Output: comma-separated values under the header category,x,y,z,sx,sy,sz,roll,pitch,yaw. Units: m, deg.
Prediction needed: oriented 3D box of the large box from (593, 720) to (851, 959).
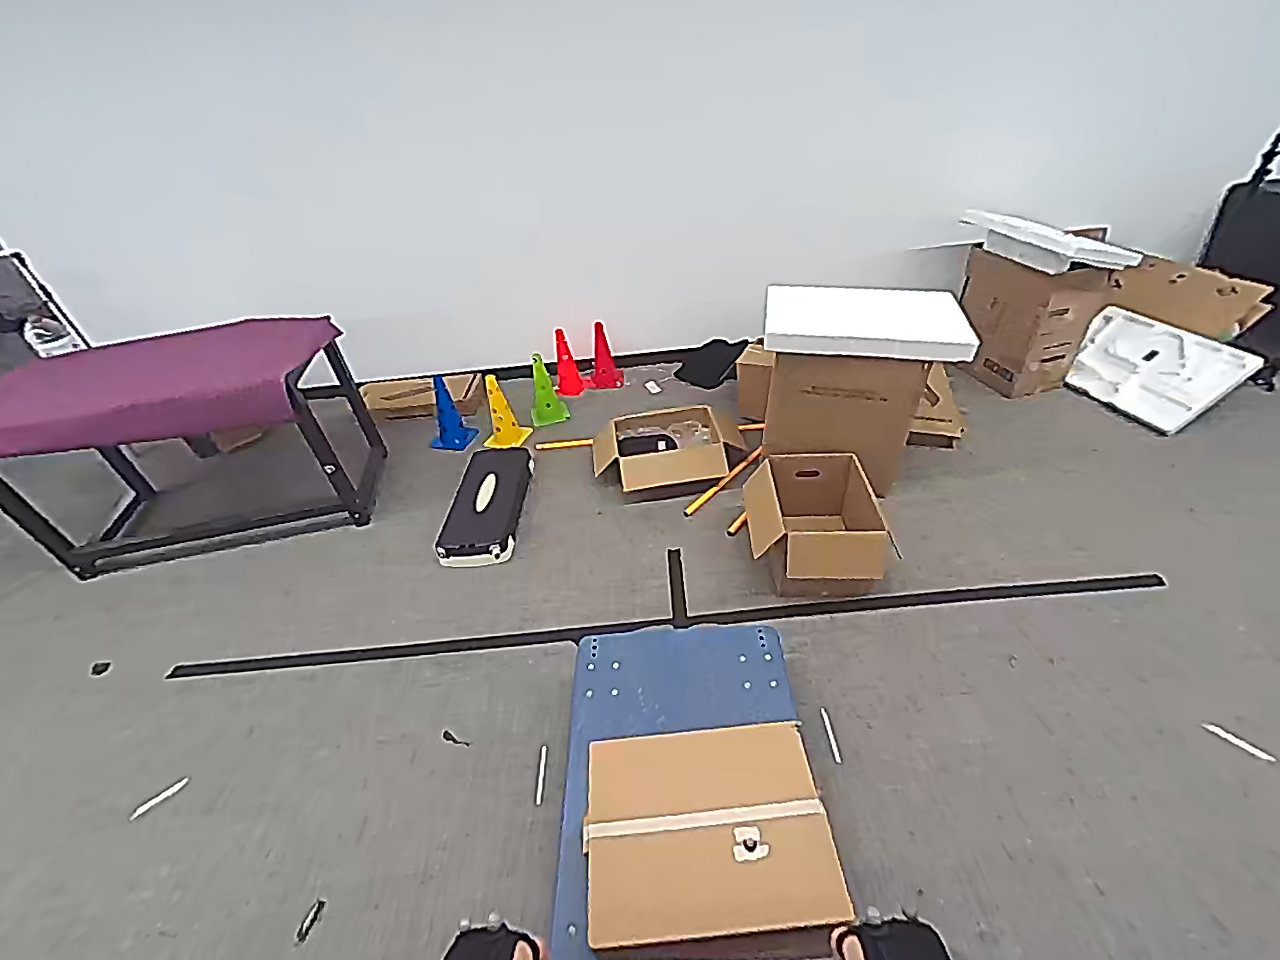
category,x,y,z,sx,sy,sz,roll,pitch,yaw
large box,0.127,0.704,1.030,0.408,0.320,0.320,-6,39,-1
